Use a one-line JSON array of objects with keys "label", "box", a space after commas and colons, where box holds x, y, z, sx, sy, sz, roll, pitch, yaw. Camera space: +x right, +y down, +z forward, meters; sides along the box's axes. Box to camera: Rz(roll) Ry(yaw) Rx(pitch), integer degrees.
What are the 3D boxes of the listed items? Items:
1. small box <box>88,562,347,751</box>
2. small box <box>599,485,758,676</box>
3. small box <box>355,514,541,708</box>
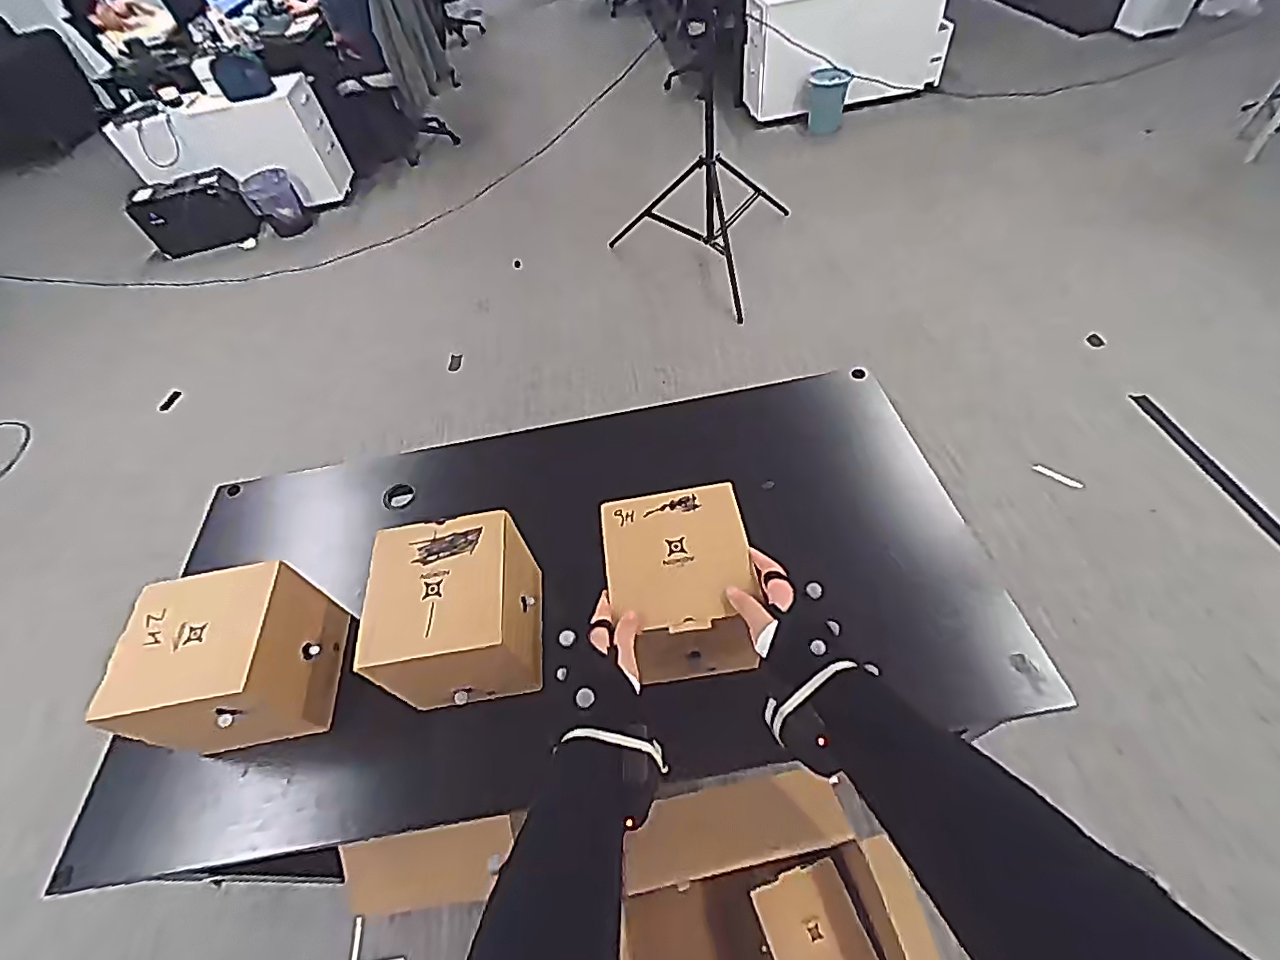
[{"label": "small box", "box": [-0.507, 0.228, 0.688, 0.179, 0.176, 0.168, -11, 52, 0]}, {"label": "small box", "box": [0.047, 0.134, 0.681, 0.168, 0.176, 0.179, -9, 52, 1]}, {"label": "small box", "box": [-0.228, 0.170, 0.693, 0.168, 0.176, 0.179, -10, 53, 1]}]
